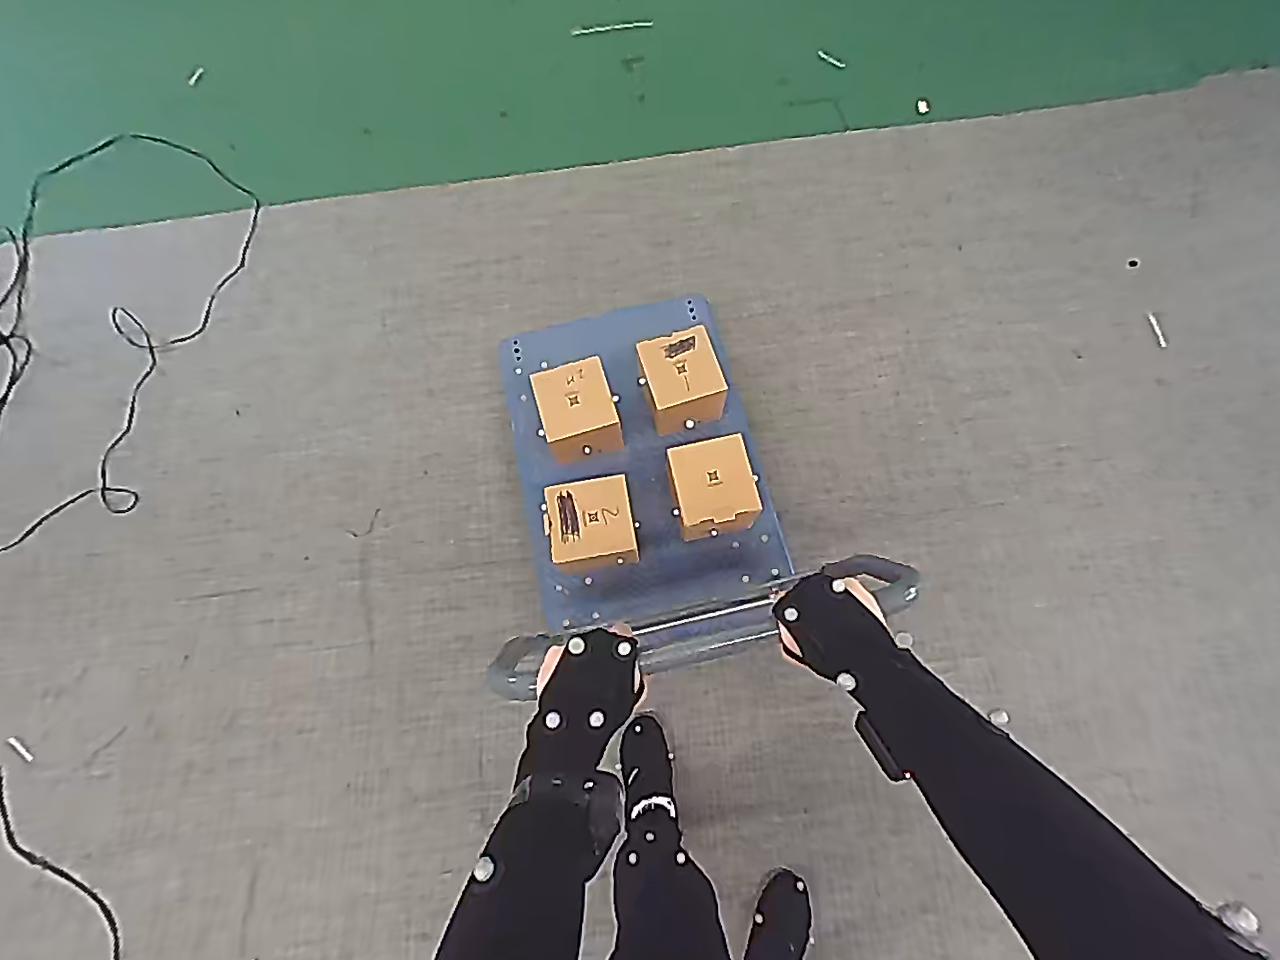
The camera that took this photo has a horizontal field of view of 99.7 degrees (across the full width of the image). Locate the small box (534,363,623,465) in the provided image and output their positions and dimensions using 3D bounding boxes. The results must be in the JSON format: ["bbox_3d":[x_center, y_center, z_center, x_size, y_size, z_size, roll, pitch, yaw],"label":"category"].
[{"bbox_3d":[-0.142,-0.148,1.301,0.168,0.176,0.179,-17,72,-3],"label":"small box"}]

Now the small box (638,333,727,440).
[{"bbox_3d":[0.099,-0.222,1.312,0.168,0.176,0.179,-17,73,-2],"label":"small box"}]

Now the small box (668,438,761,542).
[{"bbox_3d":[0.161,0.028,1.232,0.168,0.176,0.179,-13,73,-1],"label":"small box"}]
